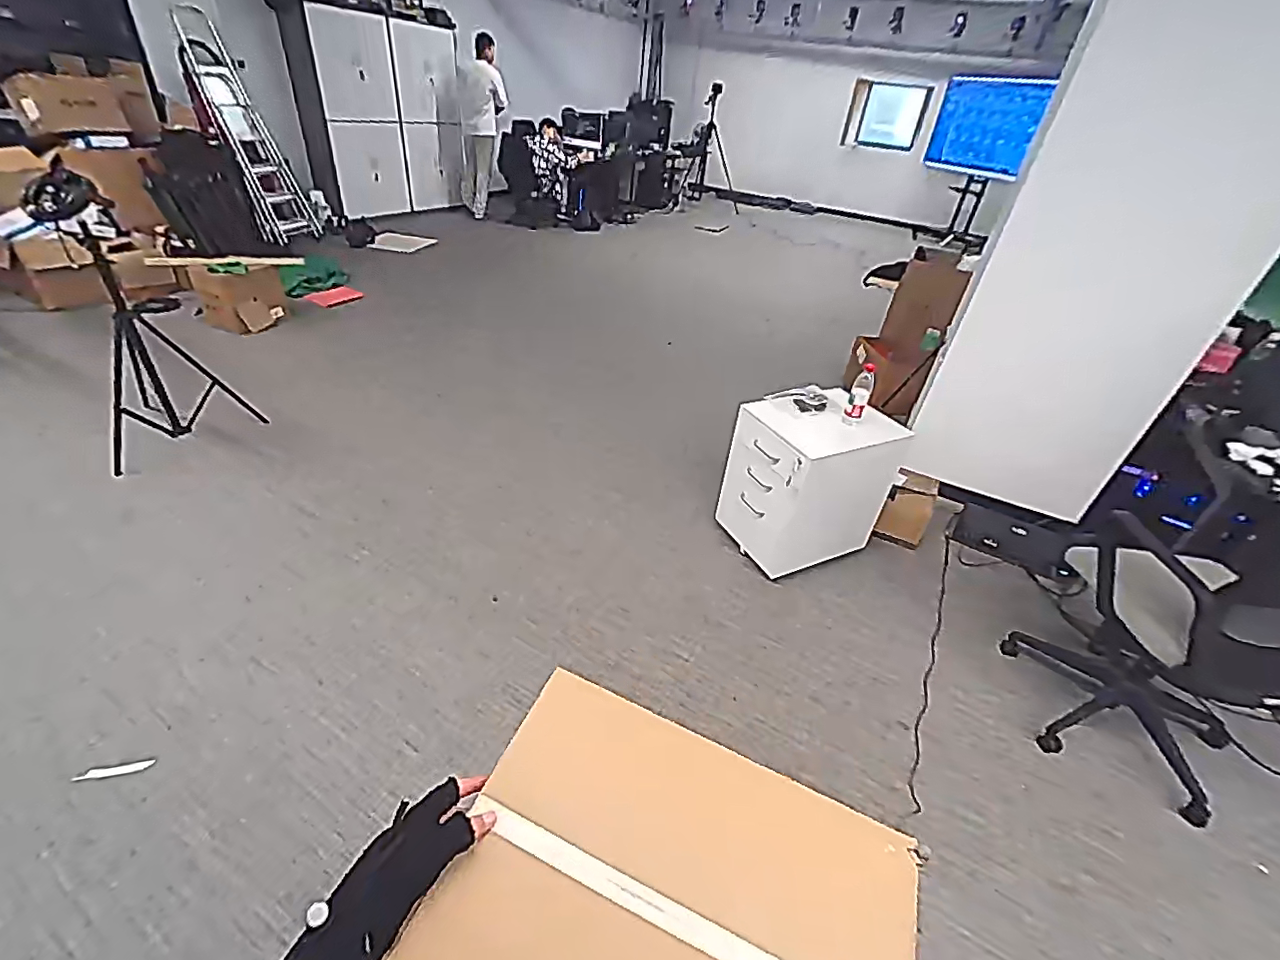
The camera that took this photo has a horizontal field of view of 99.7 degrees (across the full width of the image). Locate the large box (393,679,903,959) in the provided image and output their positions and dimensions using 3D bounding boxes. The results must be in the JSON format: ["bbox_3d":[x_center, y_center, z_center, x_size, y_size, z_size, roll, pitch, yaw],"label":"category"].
[{"bbox_3d":[0.006,0.493,0.580,0.408,0.320,0.320,22,45,12],"label":"large box"}]
